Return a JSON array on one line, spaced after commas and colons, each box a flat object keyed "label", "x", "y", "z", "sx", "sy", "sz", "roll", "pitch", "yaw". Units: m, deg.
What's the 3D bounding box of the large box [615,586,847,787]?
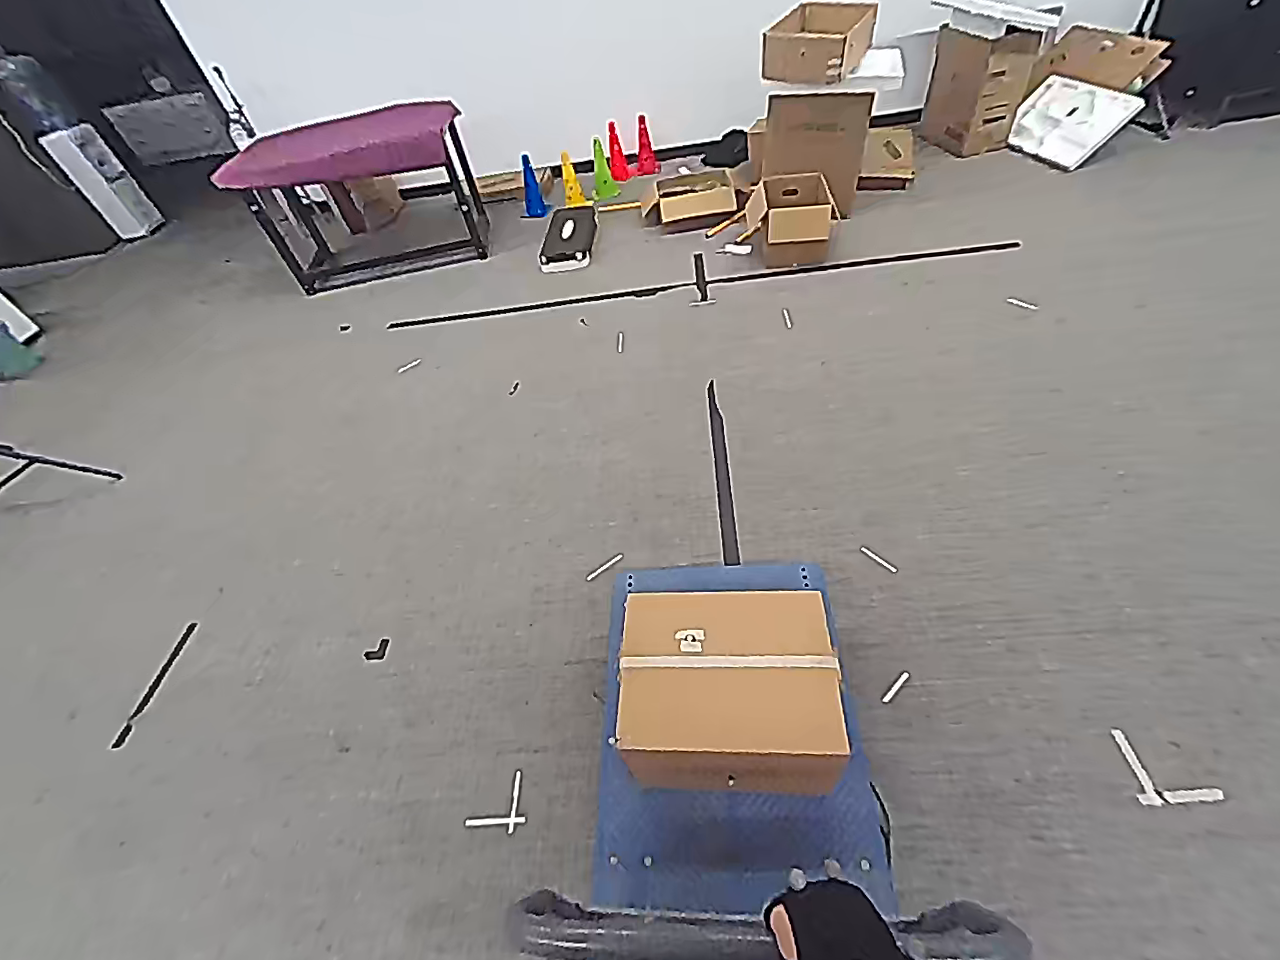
[{"label": "large box", "x": 0.181, "y": 0.441, "z": 1.134, "sx": 0.408, "sy": 0.320, "sz": 0.320, "roll": -4, "pitch": 47, "yaw": 9}]
